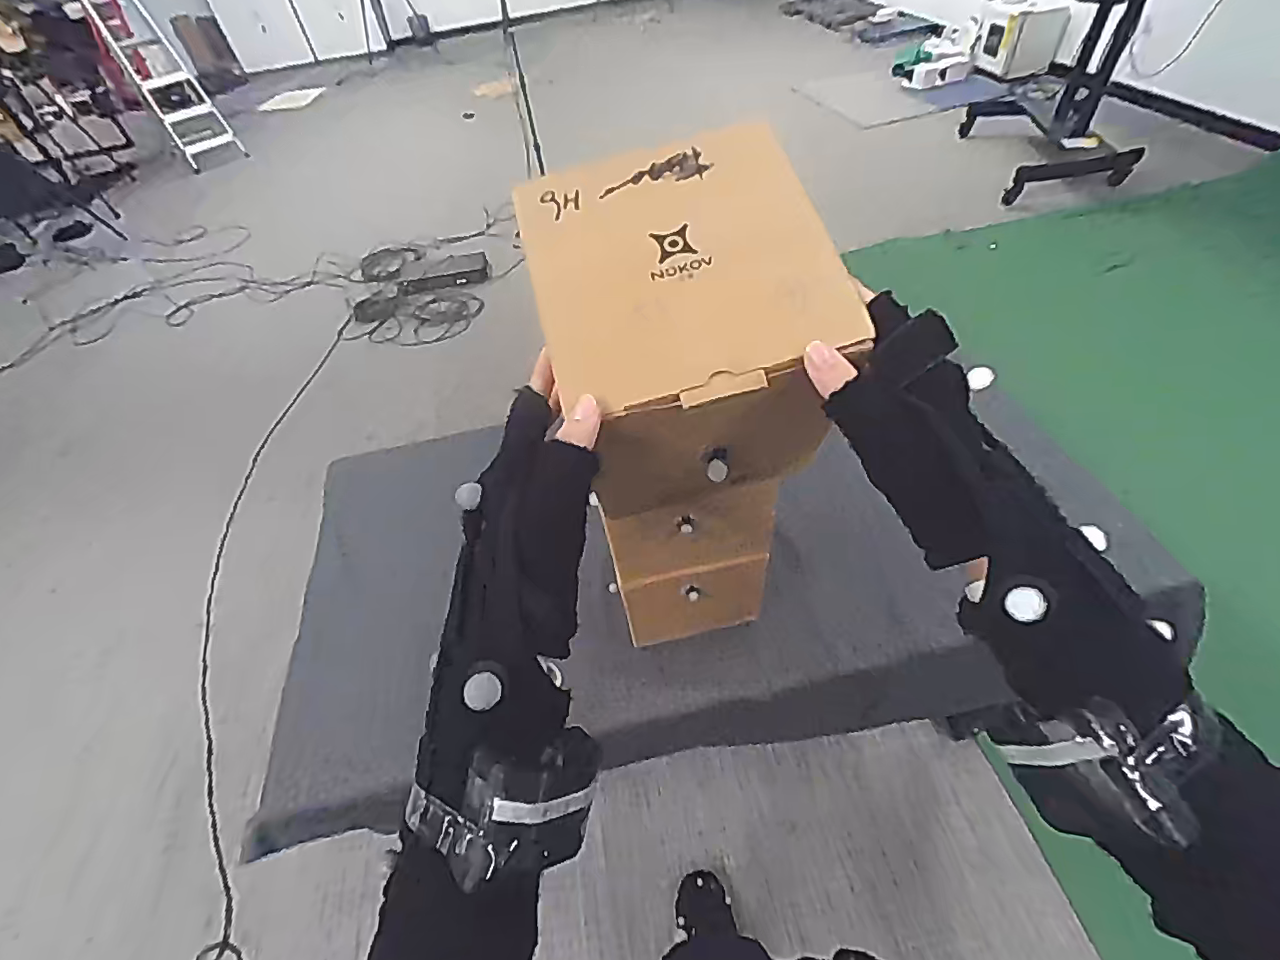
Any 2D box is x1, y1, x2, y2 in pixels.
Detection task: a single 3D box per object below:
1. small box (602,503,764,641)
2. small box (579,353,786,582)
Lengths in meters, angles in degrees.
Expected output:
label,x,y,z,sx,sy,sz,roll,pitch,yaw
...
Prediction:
label,x,y,z,sx,sy,sz,roll,pitch,yaw
small box,0.054,0.097,0.727,0.179,0.176,0.168,-12,50,-3
small box,0.041,-0.010,0.603,0.179,0.176,0.168,-14,50,-4
